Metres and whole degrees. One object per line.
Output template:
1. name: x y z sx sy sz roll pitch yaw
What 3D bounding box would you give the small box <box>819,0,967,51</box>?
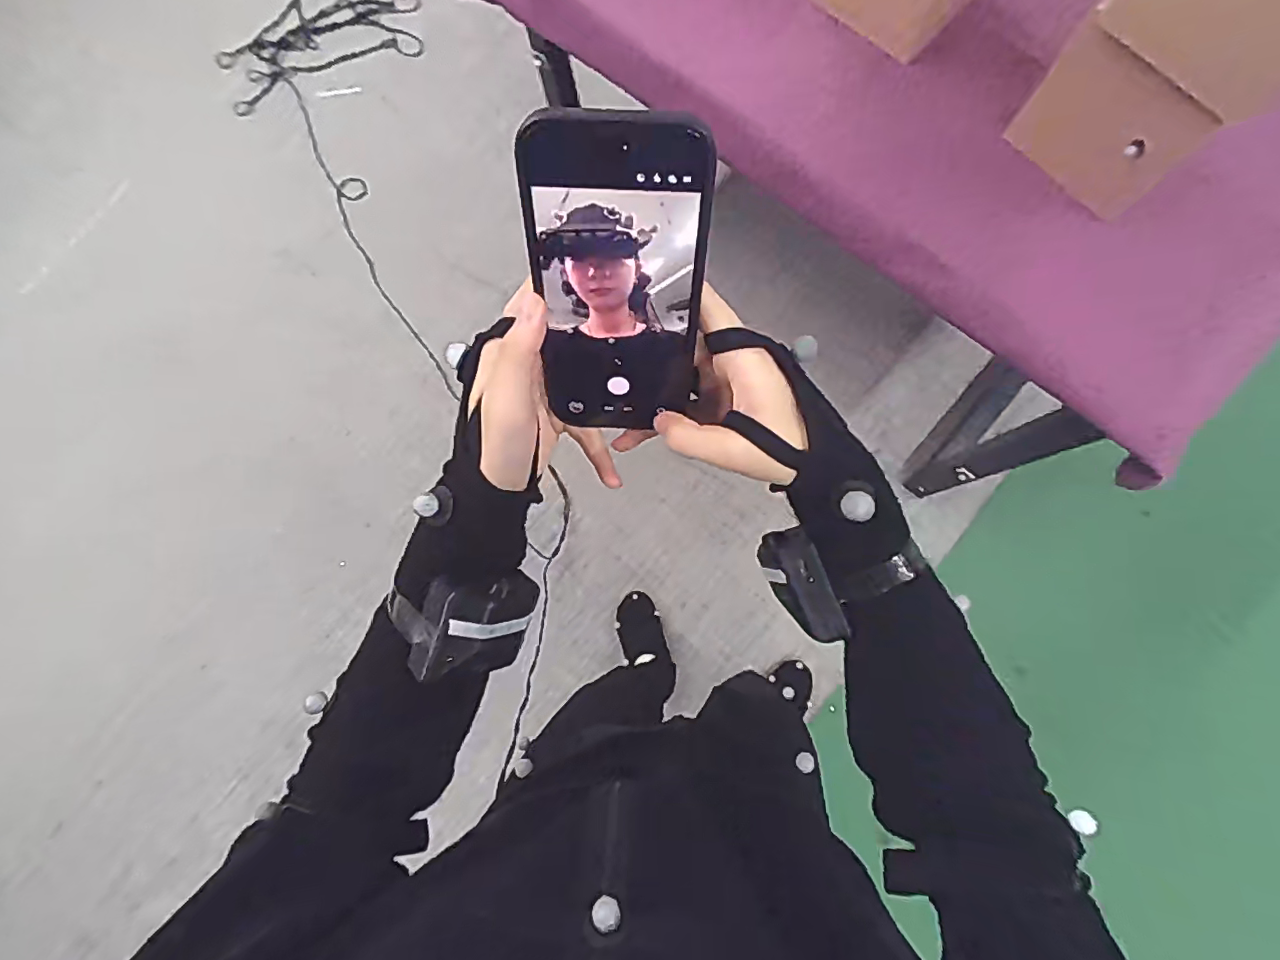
1. small box: 0.352 -0.694 0.675 0.179 0.176 0.168 43 86 10

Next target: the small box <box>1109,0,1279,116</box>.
1. small box: 0.569 -0.464 0.454 0.168 0.176 0.179 -40 80 -3

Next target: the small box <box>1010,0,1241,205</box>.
1. small box: 0.587 -0.453 0.617 0.168 0.176 0.179 -40 79 -3
